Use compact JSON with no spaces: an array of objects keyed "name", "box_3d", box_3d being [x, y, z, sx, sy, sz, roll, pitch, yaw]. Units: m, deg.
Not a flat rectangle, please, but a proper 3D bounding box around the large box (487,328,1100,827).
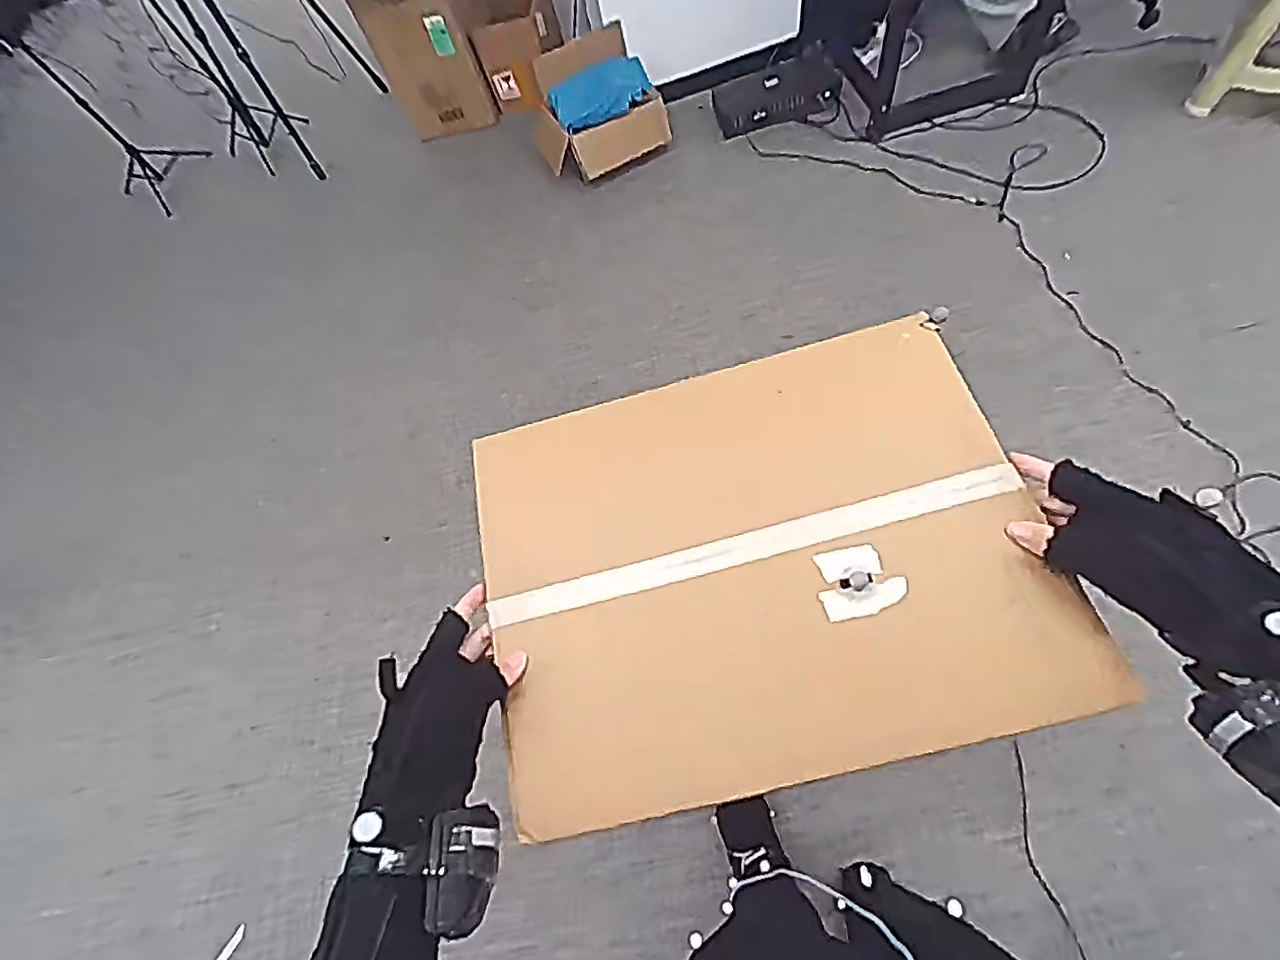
[{"name":"large box","box_3d":[0.105,0.110,0.561,0.408,0.320,0.320,-15,67,3]}]
